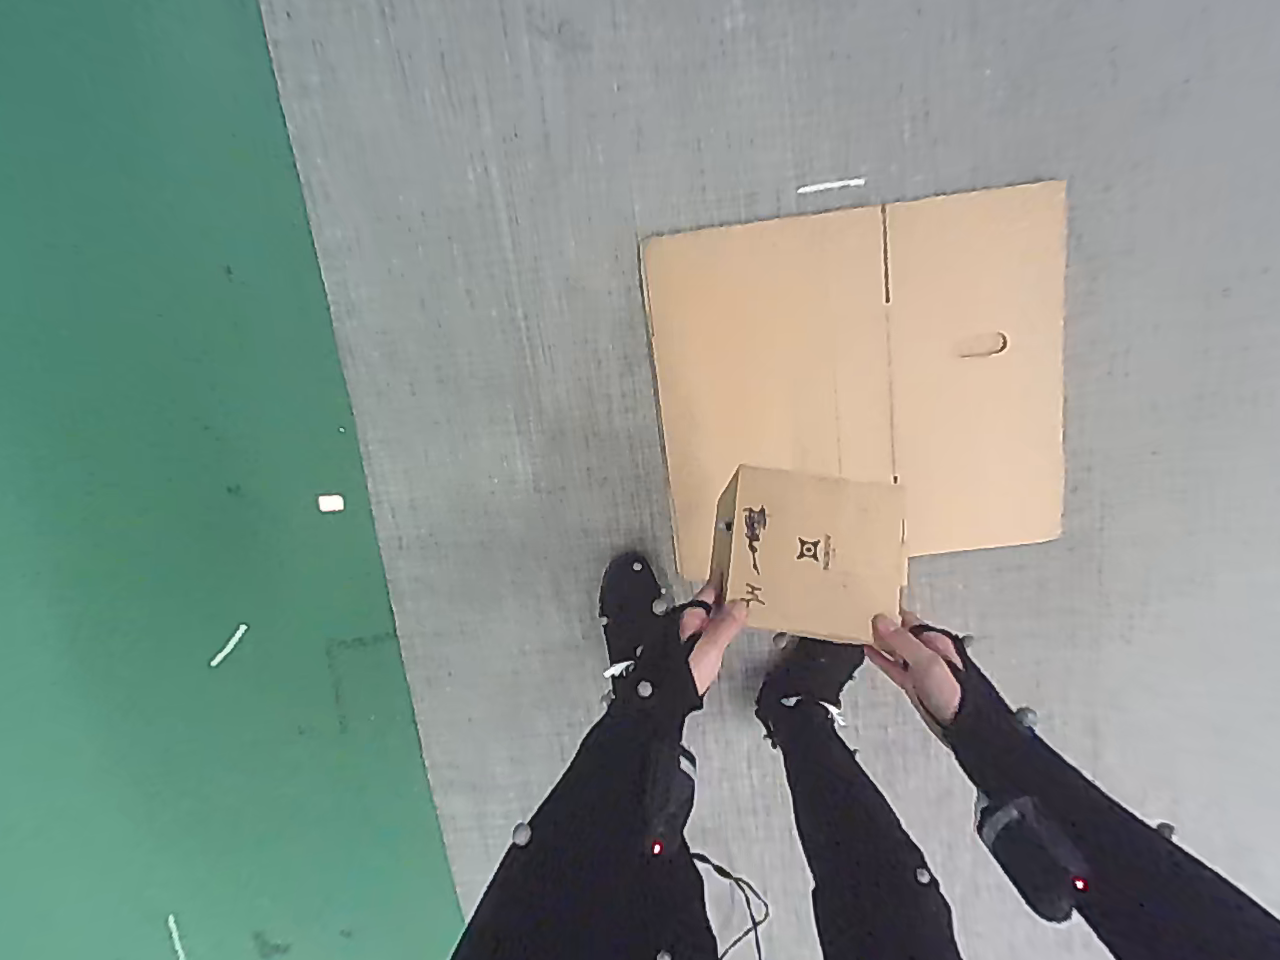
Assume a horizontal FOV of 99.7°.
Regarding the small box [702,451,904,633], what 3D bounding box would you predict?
[{"bbox_3d":[0.179,0.077,0.633,0.179,0.176,0.168,9,77,1],"label":"small box"}]
